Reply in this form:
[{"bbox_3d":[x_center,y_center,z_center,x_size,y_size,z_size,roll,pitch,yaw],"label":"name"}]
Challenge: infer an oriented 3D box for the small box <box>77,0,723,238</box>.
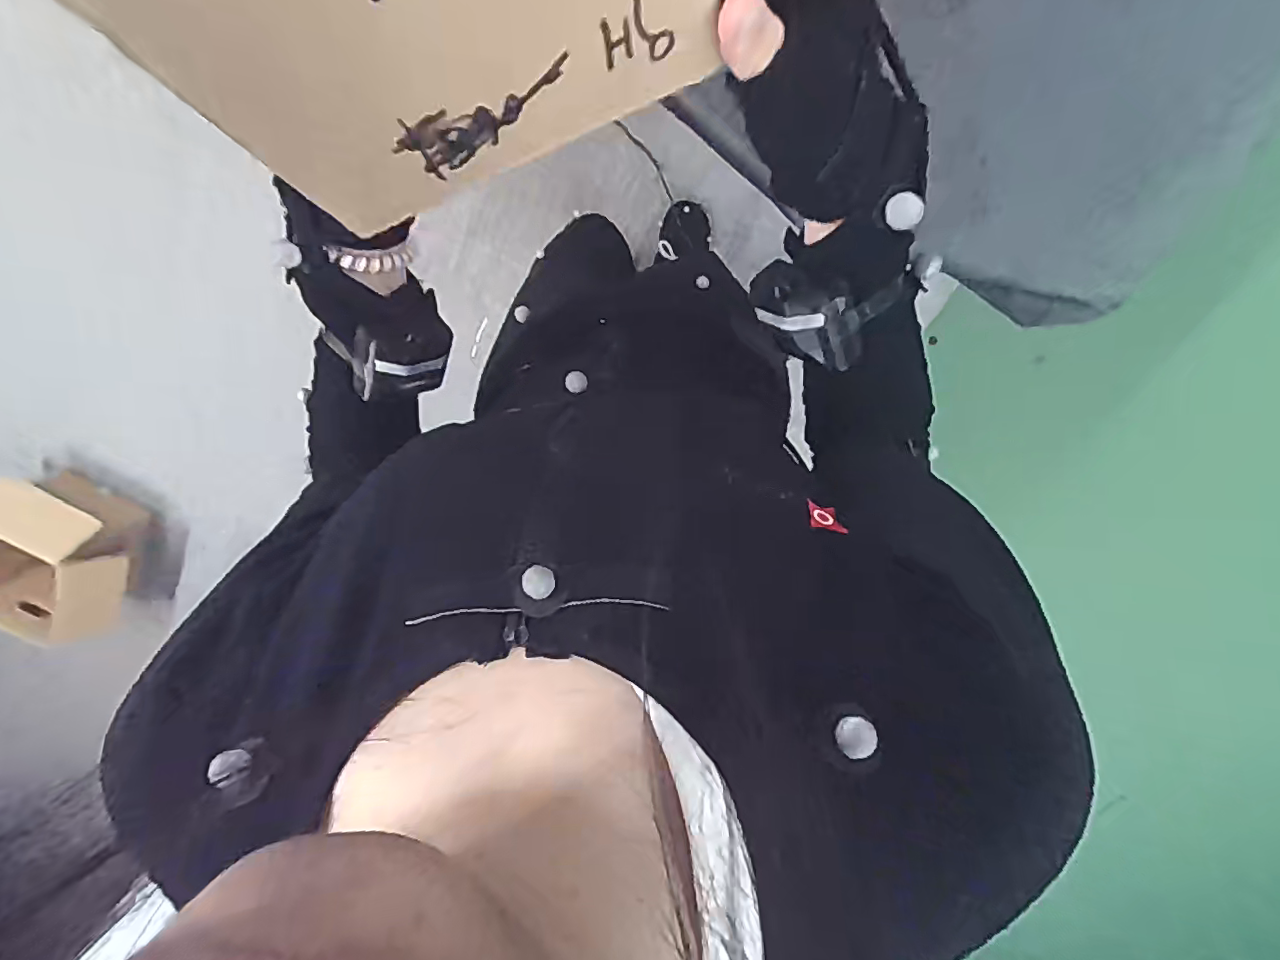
[{"bbox_3d":[-0.085,-0.222,0.161,0.168,0.179,0.176,-16,70,13],"label":"small box"}]
